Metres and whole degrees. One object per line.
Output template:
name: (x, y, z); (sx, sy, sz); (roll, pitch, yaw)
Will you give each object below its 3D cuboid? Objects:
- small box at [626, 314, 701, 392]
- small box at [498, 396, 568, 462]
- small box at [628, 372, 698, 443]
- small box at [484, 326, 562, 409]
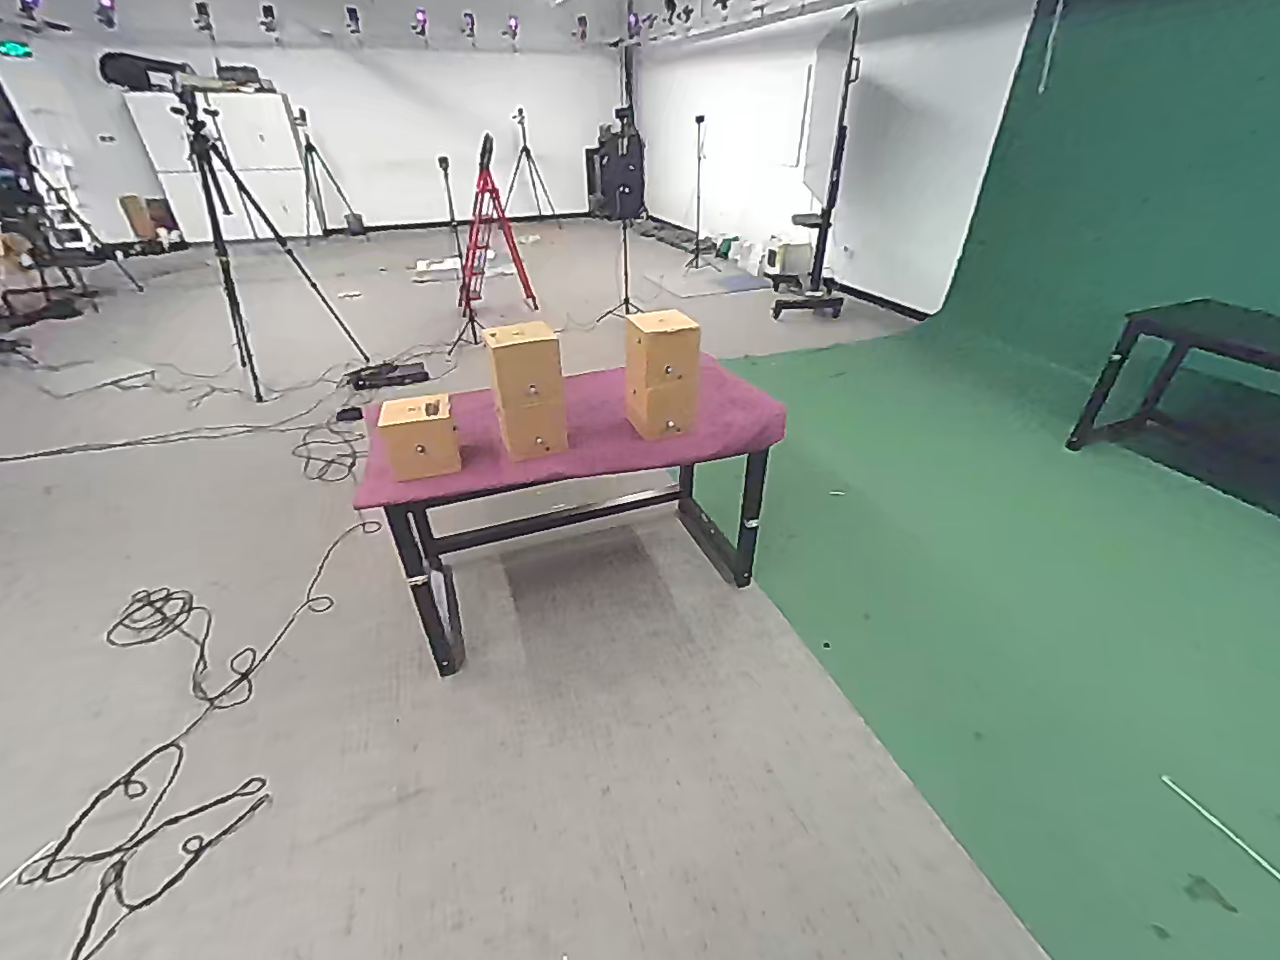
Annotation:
small box: (0.063, -0.372, 1.573); (0.168, 0.176, 0.179); (-12, 35, -17)
small box: (-0.314, -0.172, 1.565); (0.168, 0.176, 0.179); (-13, 35, -18)
small box: (0.065, -0.233, 1.658); (0.168, 0.176, 0.179); (-12, 36, -17)
small box: (-0.316, -0.308, 1.474); (0.179, 0.176, 0.168); (-13, 33, -19)
